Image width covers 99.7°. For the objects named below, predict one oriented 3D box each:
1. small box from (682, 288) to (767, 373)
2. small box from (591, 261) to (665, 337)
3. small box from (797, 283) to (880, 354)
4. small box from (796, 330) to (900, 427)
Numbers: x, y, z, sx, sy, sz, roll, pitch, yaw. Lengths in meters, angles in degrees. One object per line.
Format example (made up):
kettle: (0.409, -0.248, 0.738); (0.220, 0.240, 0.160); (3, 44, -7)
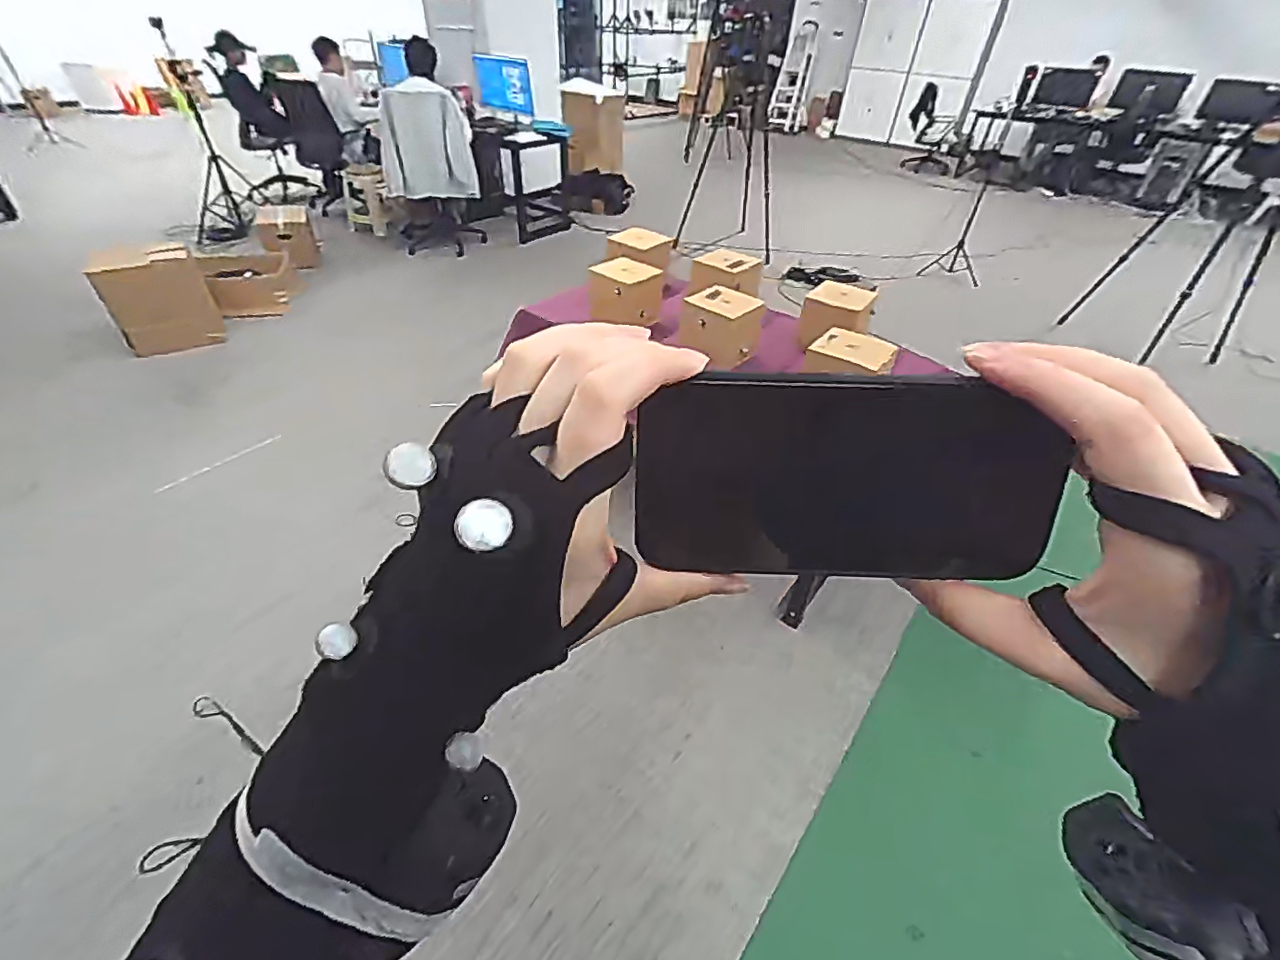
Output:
small box: (0.241, -0.436, 1.581); (0.179, 0.176, 0.168); (33, 49, 29)
small box: (-0.041, -0.582, 1.736); (0.179, 0.176, 0.168); (31, 48, 28)
small box: (0.598, -0.476, 1.646); (0.168, 0.176, 0.179); (27, 46, 26)
small box: (0.529, -0.258, 1.387); (0.179, 0.176, 0.168); (29, 46, 27)
